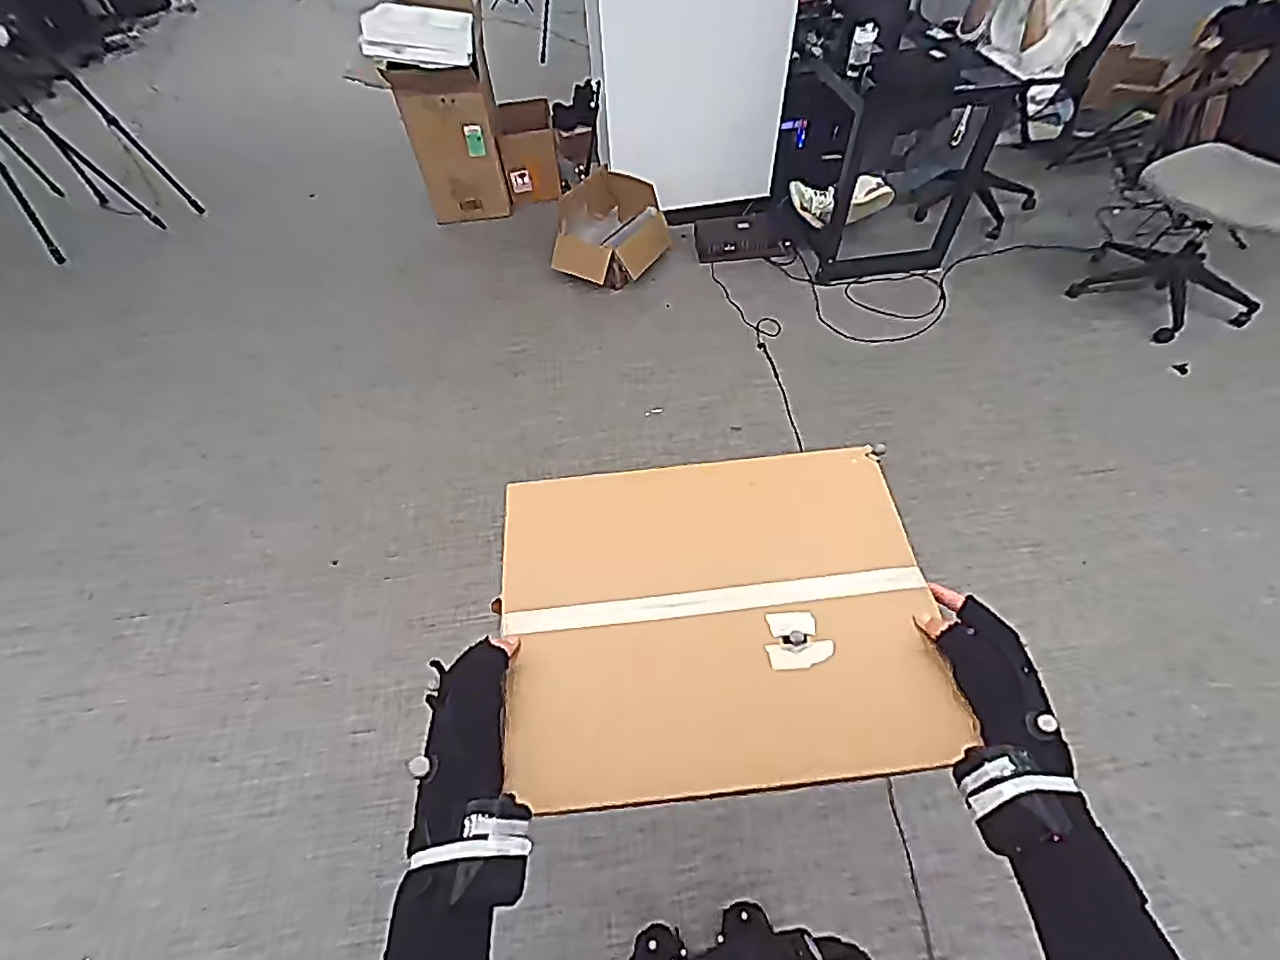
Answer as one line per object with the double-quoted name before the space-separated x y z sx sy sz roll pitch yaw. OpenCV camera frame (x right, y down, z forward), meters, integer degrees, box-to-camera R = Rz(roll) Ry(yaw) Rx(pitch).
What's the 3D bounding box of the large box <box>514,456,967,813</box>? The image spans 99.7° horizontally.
"large box" 0.076 0.202 0.665 0.408 0.320 0.320 -6 60 -2
